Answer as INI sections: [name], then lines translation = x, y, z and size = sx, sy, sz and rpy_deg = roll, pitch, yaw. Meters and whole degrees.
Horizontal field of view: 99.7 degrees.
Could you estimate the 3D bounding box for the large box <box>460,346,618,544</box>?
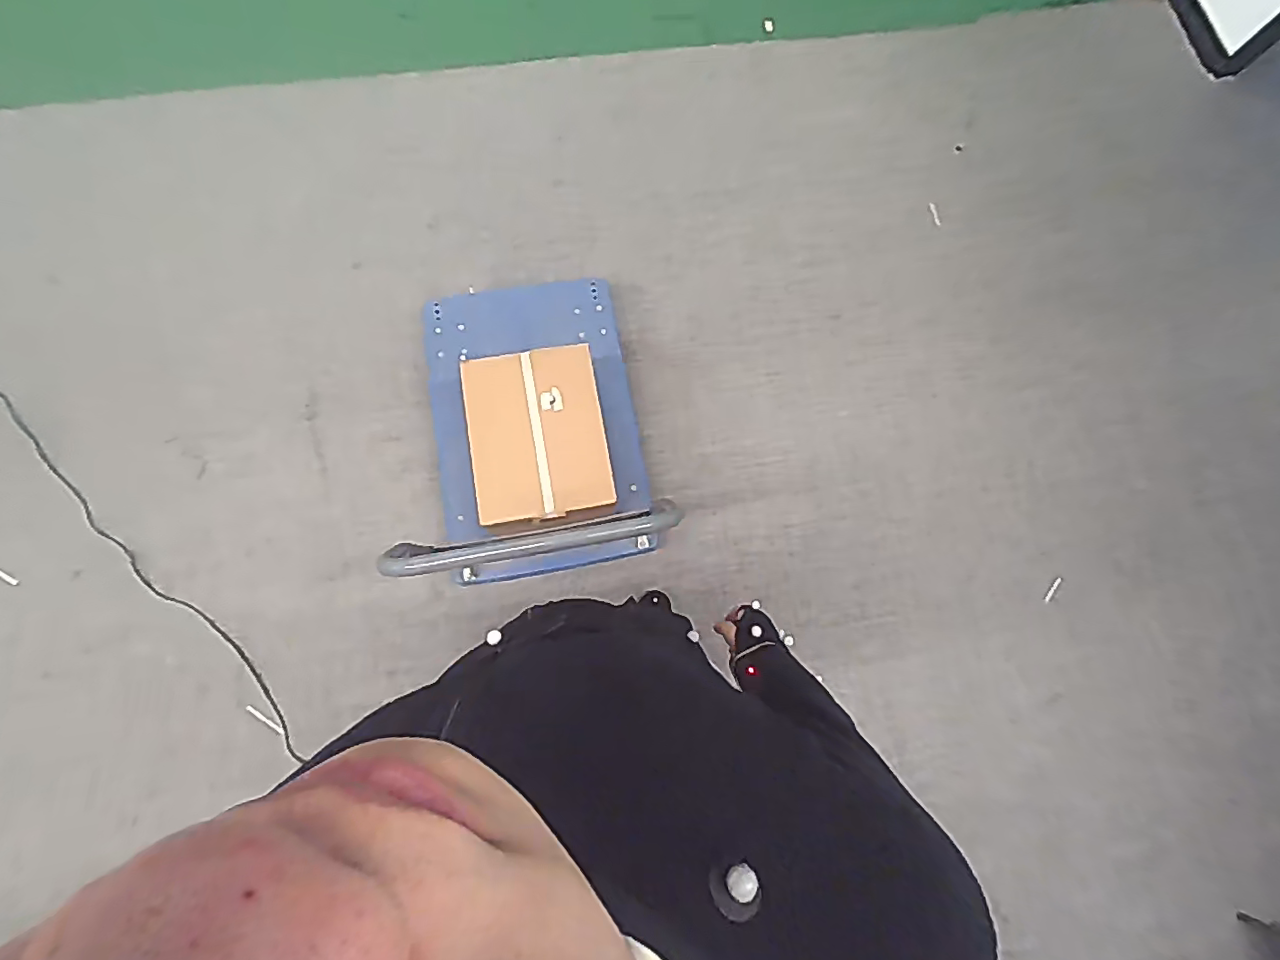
[large box]
translation = -0.249, -0.075, 1.406
size = 0.320, 0.320, 0.408
rpy_deg = -10, 77, -7
